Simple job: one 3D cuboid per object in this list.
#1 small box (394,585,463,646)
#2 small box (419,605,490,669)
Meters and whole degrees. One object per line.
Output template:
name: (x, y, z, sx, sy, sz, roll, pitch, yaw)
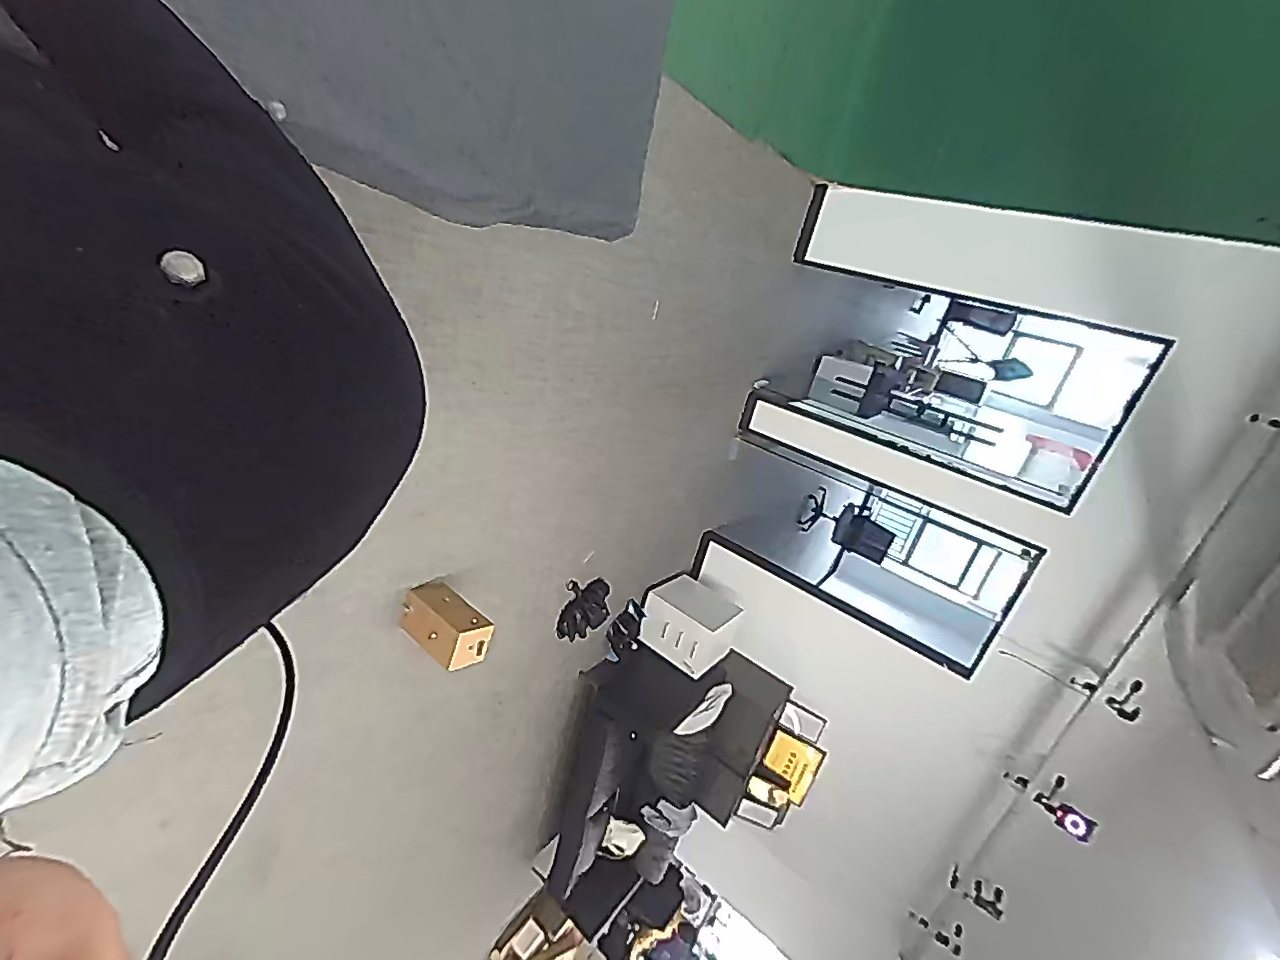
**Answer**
small box: (-0.861, 0.543, 2.201, 0.179, 0.176, 0.168, 1, 111, -58)
small box: (-0.731, 0.608, 2.123, 0.179, 0.176, 0.168, 3, 109, -59)
